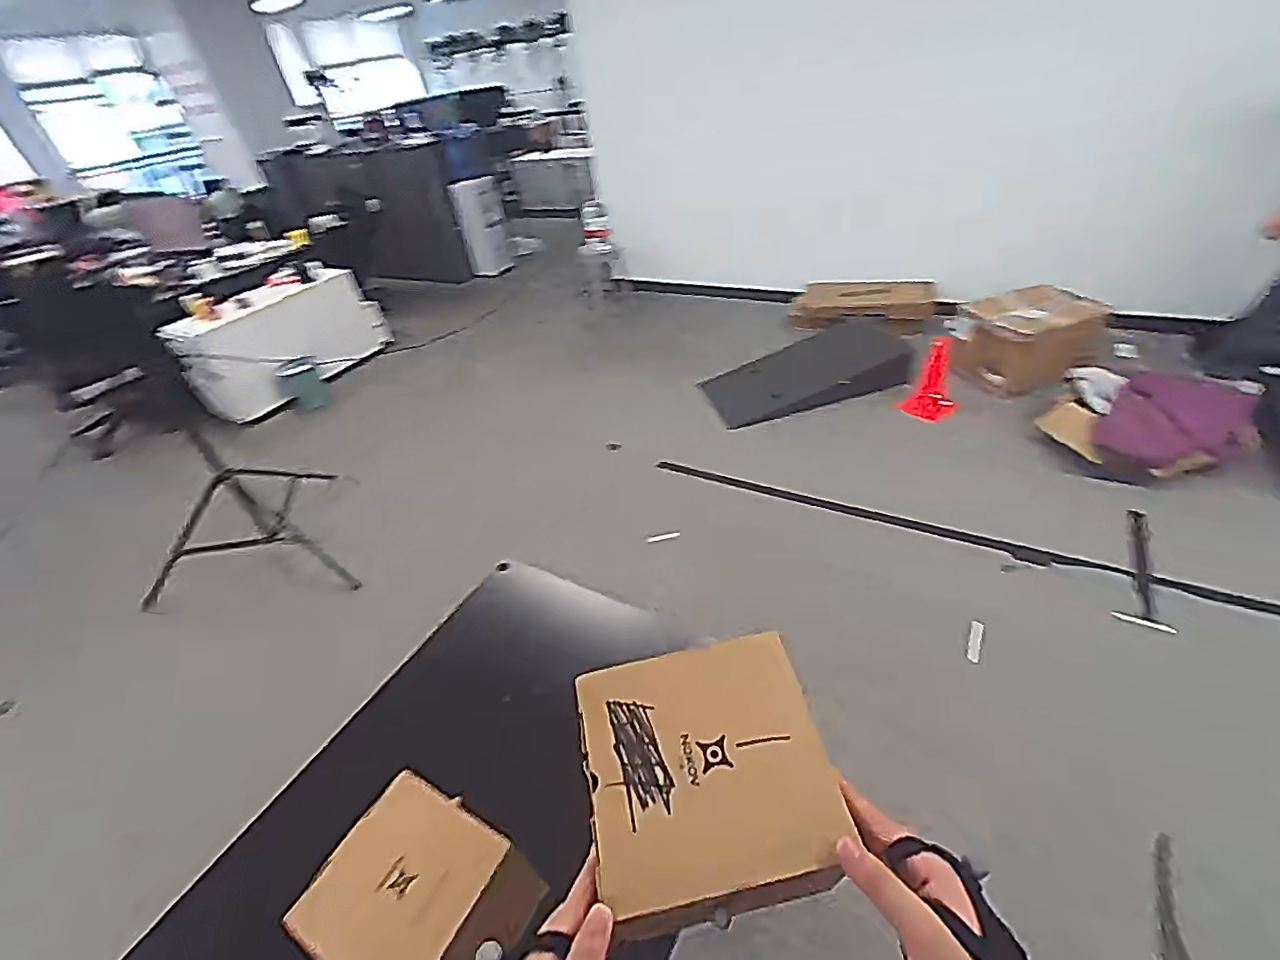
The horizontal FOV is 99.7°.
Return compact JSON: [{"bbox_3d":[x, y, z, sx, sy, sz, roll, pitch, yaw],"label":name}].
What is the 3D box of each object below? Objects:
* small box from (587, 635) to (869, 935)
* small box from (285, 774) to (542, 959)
[{"bbox_3d":[0.062,0.259,0.456,0.179,0.176,0.168,-11,47,-2],"label":"small box"},{"bbox_3d":[-0.240,0.482,0.613,0.179,0.176,0.168,14,46,26],"label":"small box"}]
